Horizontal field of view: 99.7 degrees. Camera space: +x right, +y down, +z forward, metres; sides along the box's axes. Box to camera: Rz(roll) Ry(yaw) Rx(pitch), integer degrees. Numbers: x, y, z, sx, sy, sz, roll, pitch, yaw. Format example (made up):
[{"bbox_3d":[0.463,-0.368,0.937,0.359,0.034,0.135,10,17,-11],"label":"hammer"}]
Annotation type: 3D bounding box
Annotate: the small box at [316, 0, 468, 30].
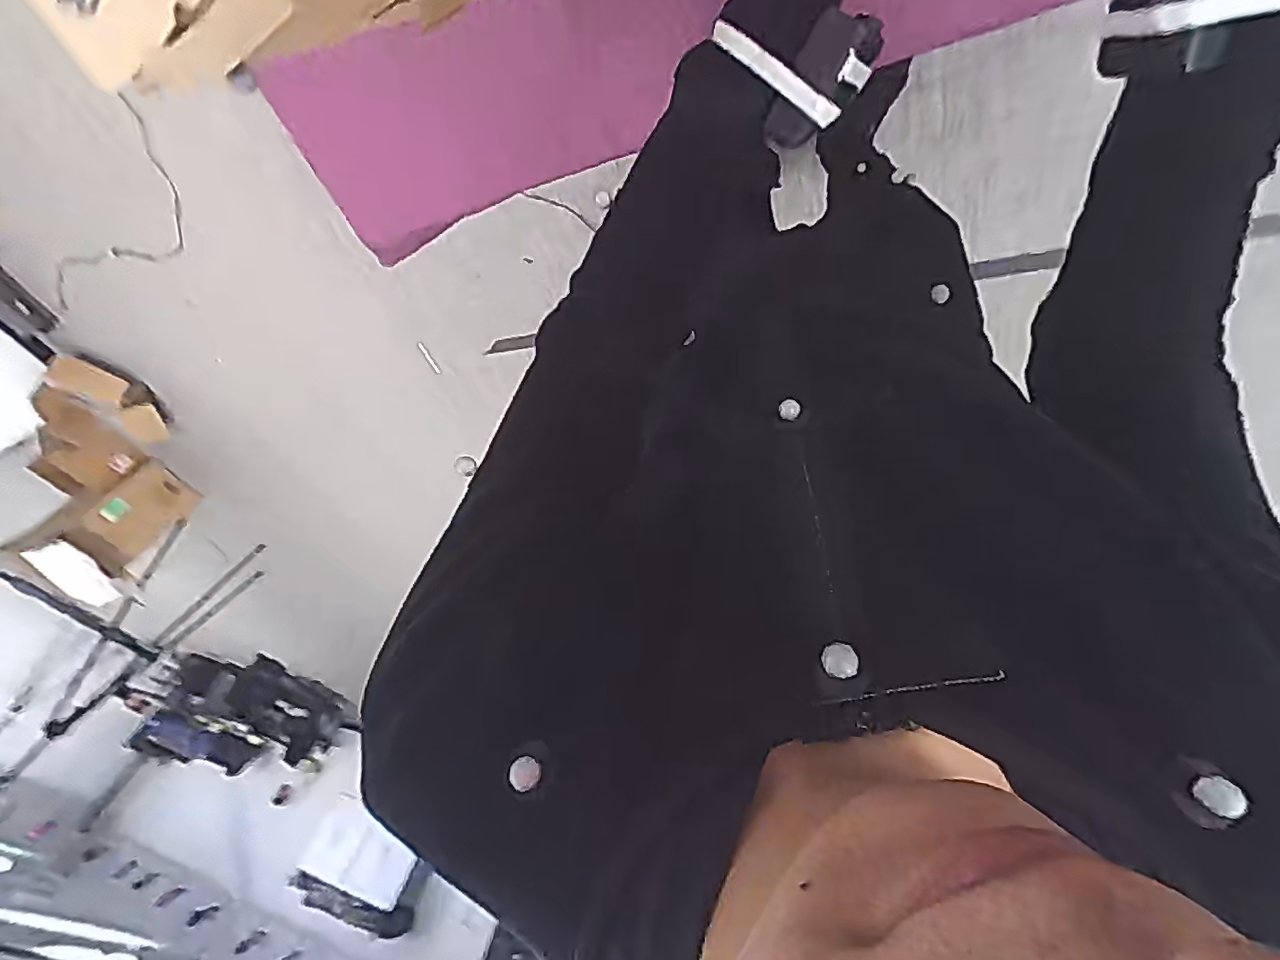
[{"bbox_3d":[-0.146,-0.434,0.344,0.168,0.176,0.179,-3,134,27],"label":"small box"}]
